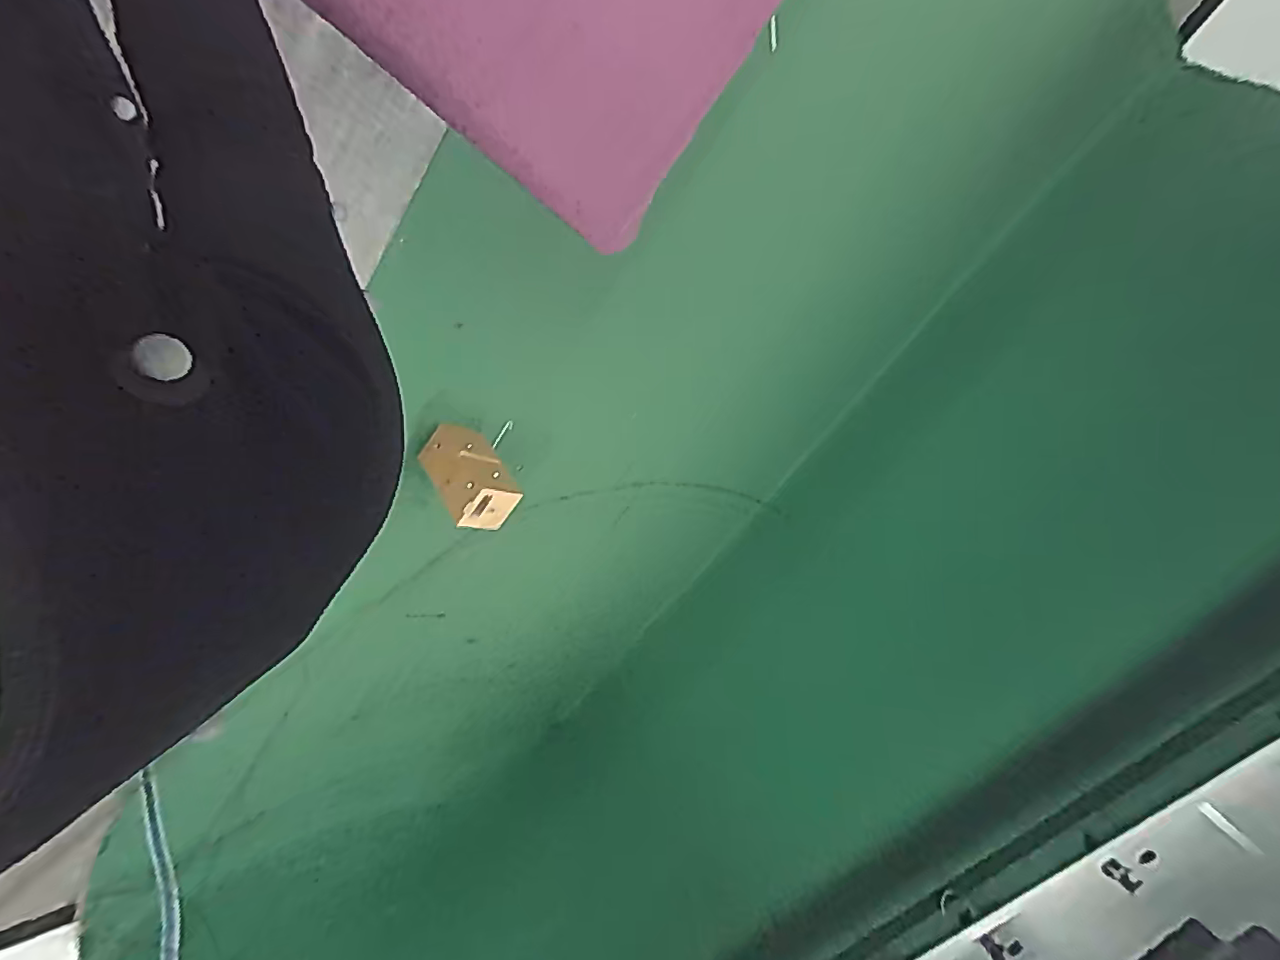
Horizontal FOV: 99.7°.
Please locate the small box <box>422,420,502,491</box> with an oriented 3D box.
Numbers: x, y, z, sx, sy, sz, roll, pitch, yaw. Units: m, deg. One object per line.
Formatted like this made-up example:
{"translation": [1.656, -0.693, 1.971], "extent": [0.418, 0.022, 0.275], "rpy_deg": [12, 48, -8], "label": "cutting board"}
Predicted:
{"translation": [-0.623, -0.085, 1.884], "extent": [0.168, 0.176, 0.179], "rpy_deg": [-50, 148, 16], "label": "small box"}
